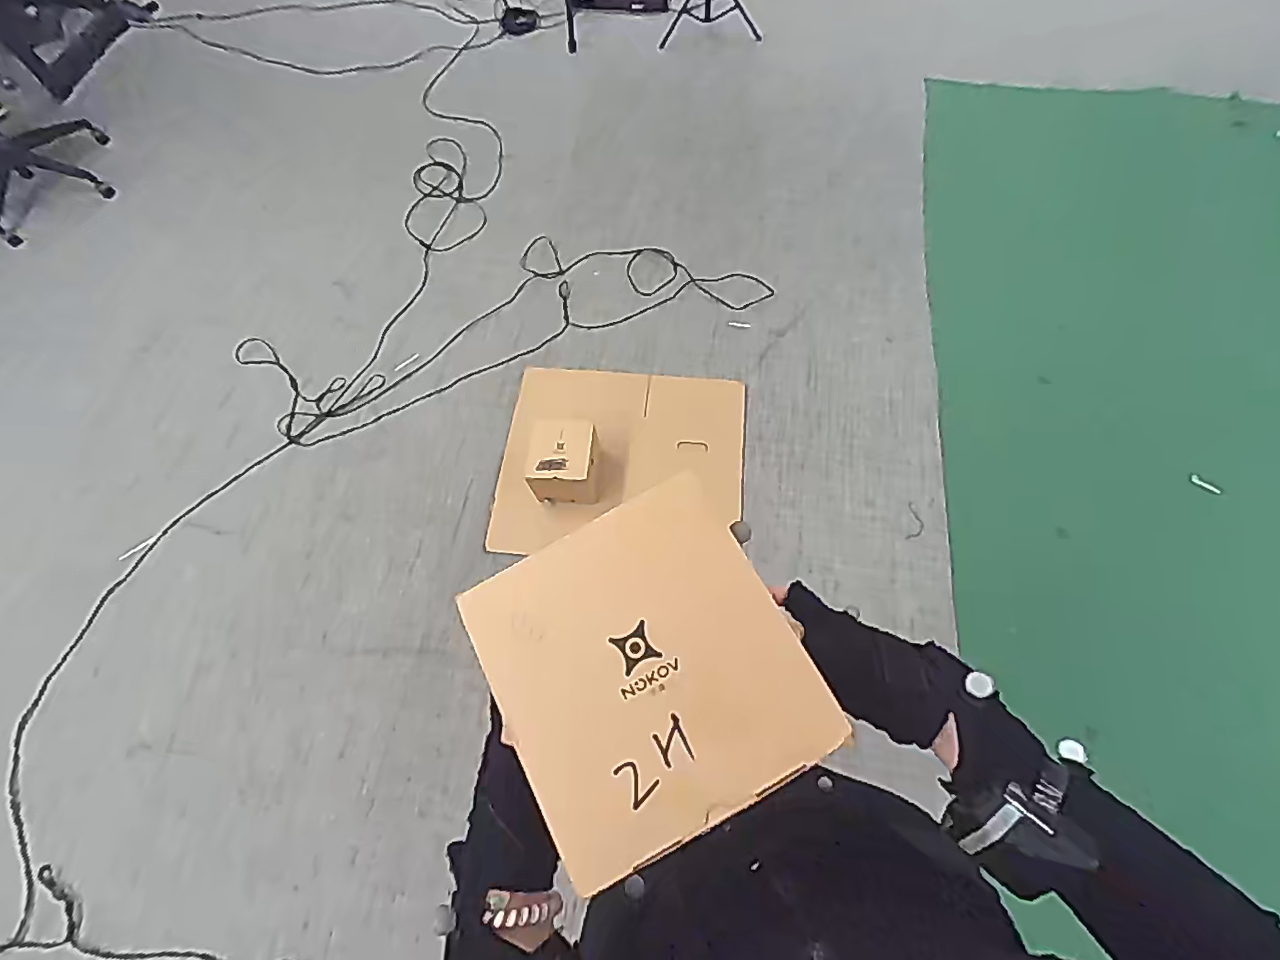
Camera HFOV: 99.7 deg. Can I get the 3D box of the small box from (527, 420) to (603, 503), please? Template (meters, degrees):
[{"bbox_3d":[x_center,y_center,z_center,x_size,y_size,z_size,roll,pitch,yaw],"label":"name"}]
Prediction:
[{"bbox_3d":[-0.198,-0.047,1.483,0.168,0.176,0.179,3,66,4],"label":"small box"}]

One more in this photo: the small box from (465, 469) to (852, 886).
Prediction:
[{"bbox_3d":[0.011,0.124,0.381,0.168,0.176,0.179,-29,72,-2],"label":"small box"}]
